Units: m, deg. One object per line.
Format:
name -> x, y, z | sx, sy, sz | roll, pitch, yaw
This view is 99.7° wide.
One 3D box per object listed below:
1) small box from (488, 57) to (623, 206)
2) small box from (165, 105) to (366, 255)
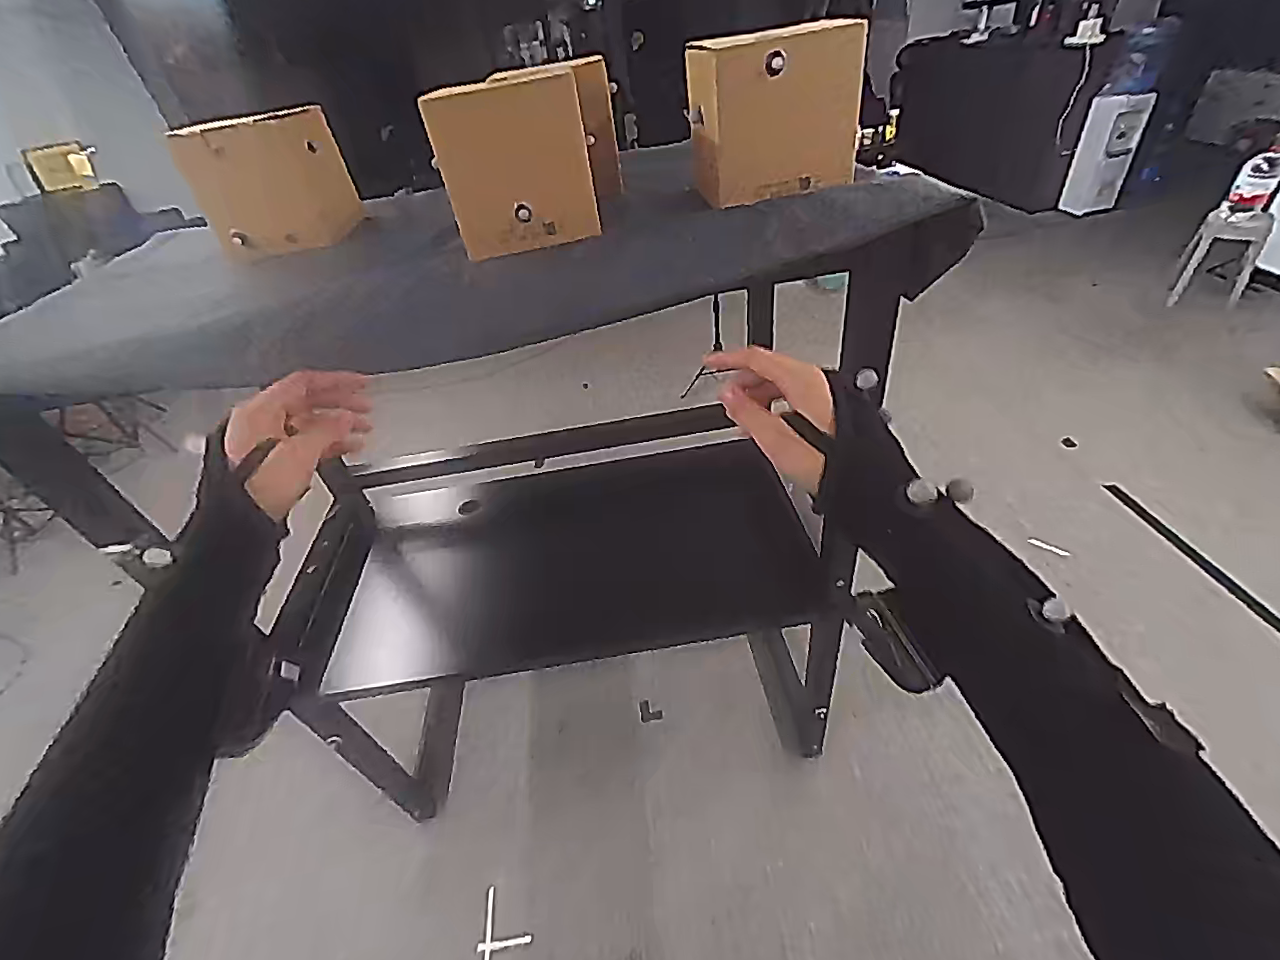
small box -> -0.121, -0.543, 0.845 | 0.168, 0.176, 0.179 | -9, 39, 2
small box -> -0.562, -0.464, 0.846 | 0.168, 0.176, 0.179 | -9, 39, 0
